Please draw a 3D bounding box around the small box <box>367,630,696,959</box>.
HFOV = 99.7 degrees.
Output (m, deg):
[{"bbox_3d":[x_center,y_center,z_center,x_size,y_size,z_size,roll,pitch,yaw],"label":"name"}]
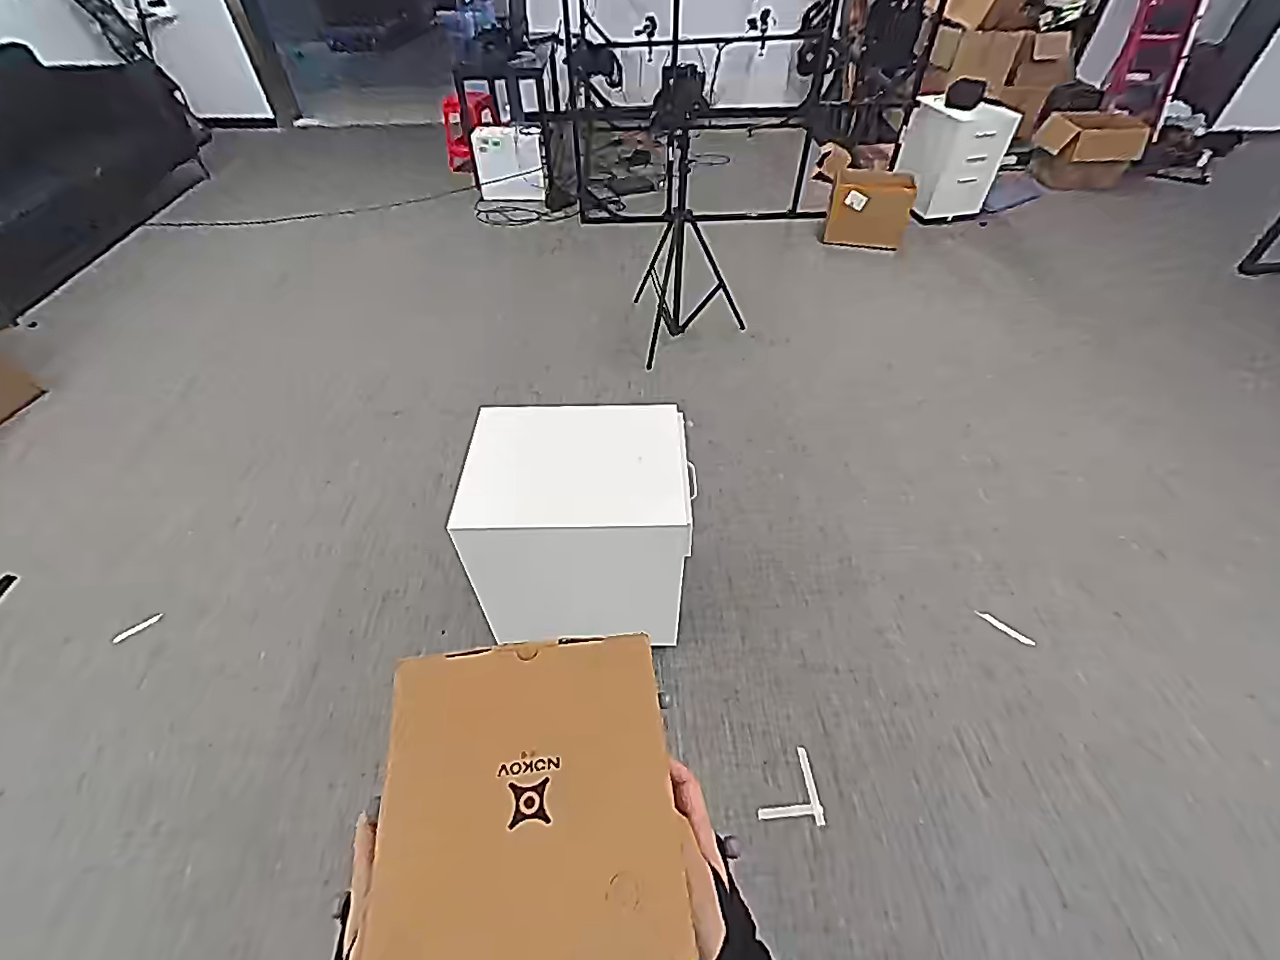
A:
[{"bbox_3d":[-0.067,0.226,0.375,0.168,0.176,0.179,-5,53,-9],"label":"small box"}]
